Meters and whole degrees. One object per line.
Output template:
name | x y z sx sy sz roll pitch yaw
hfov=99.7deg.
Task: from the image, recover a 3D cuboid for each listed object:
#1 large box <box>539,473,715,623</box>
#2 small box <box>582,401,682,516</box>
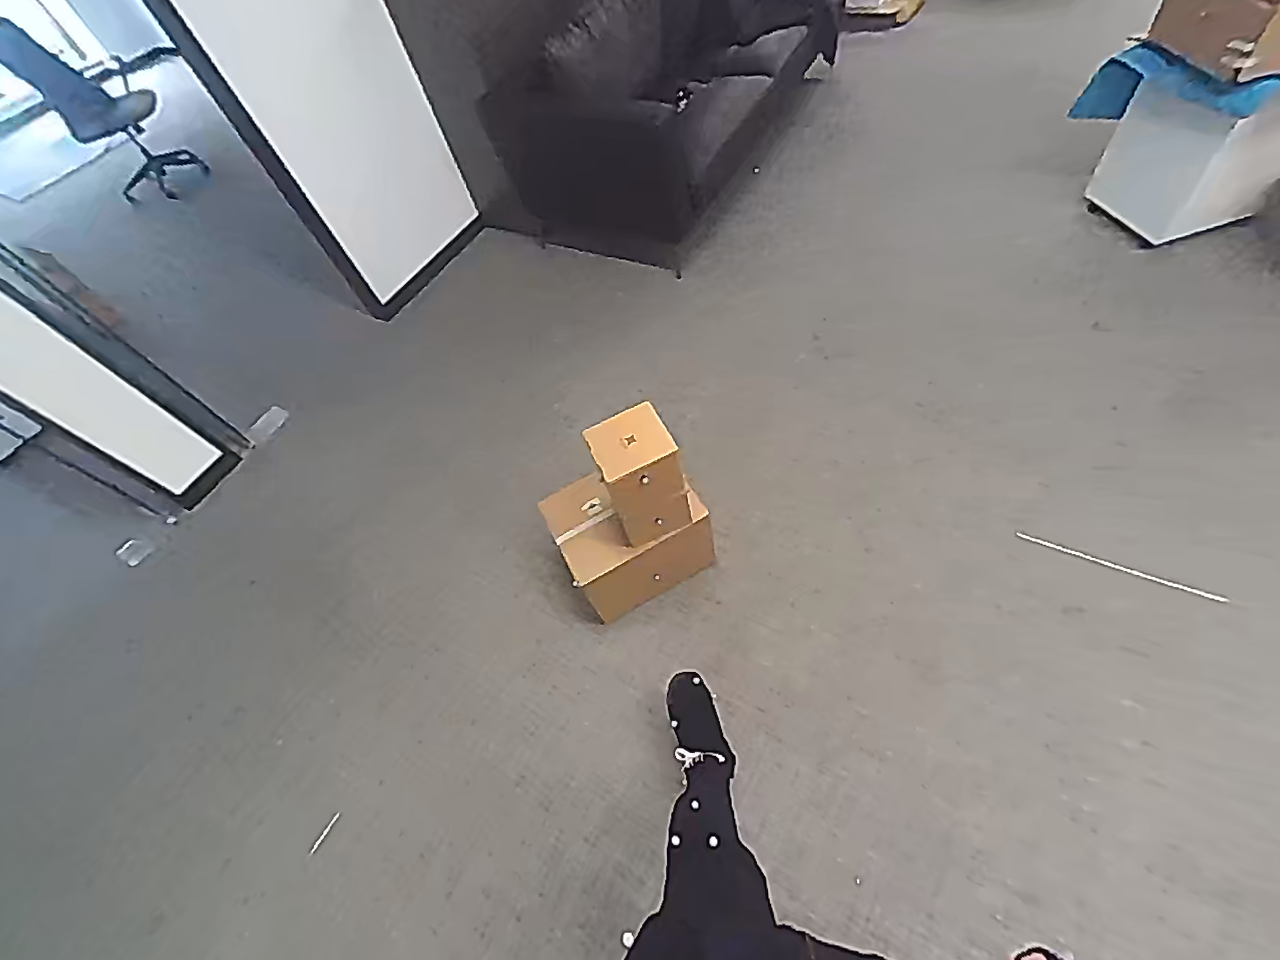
large box | -0.028 0.163 1.632 0.408 0.320 0.320 -30 55 -7
small box | -0.012 -0.047 1.271 0.179 0.176 0.168 -26 57 -5
